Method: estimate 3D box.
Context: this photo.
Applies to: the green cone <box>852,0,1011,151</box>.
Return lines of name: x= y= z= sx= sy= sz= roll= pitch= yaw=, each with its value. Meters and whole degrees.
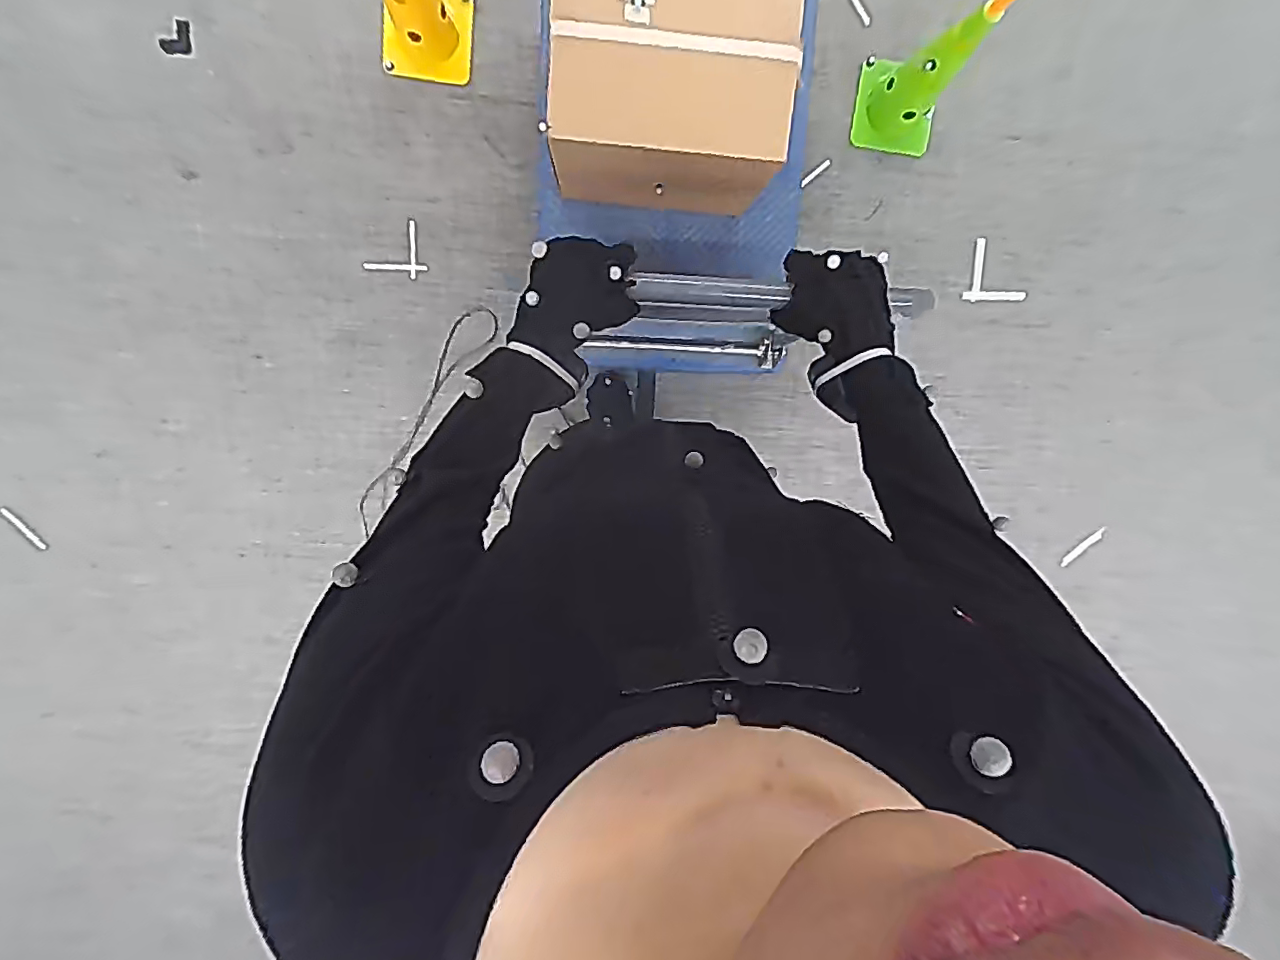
green cone: x=0.645 y=-0.902 z=1.167 sx=0.202 sy=0.368 sz=0.200 roll=6 pitch=100 yaw=-6

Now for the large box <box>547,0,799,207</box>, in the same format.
large box: x=0.048 y=-0.731 z=1.017 sx=0.408 sy=0.320 sz=0.320 roll=4 pitch=100 yaw=-3
